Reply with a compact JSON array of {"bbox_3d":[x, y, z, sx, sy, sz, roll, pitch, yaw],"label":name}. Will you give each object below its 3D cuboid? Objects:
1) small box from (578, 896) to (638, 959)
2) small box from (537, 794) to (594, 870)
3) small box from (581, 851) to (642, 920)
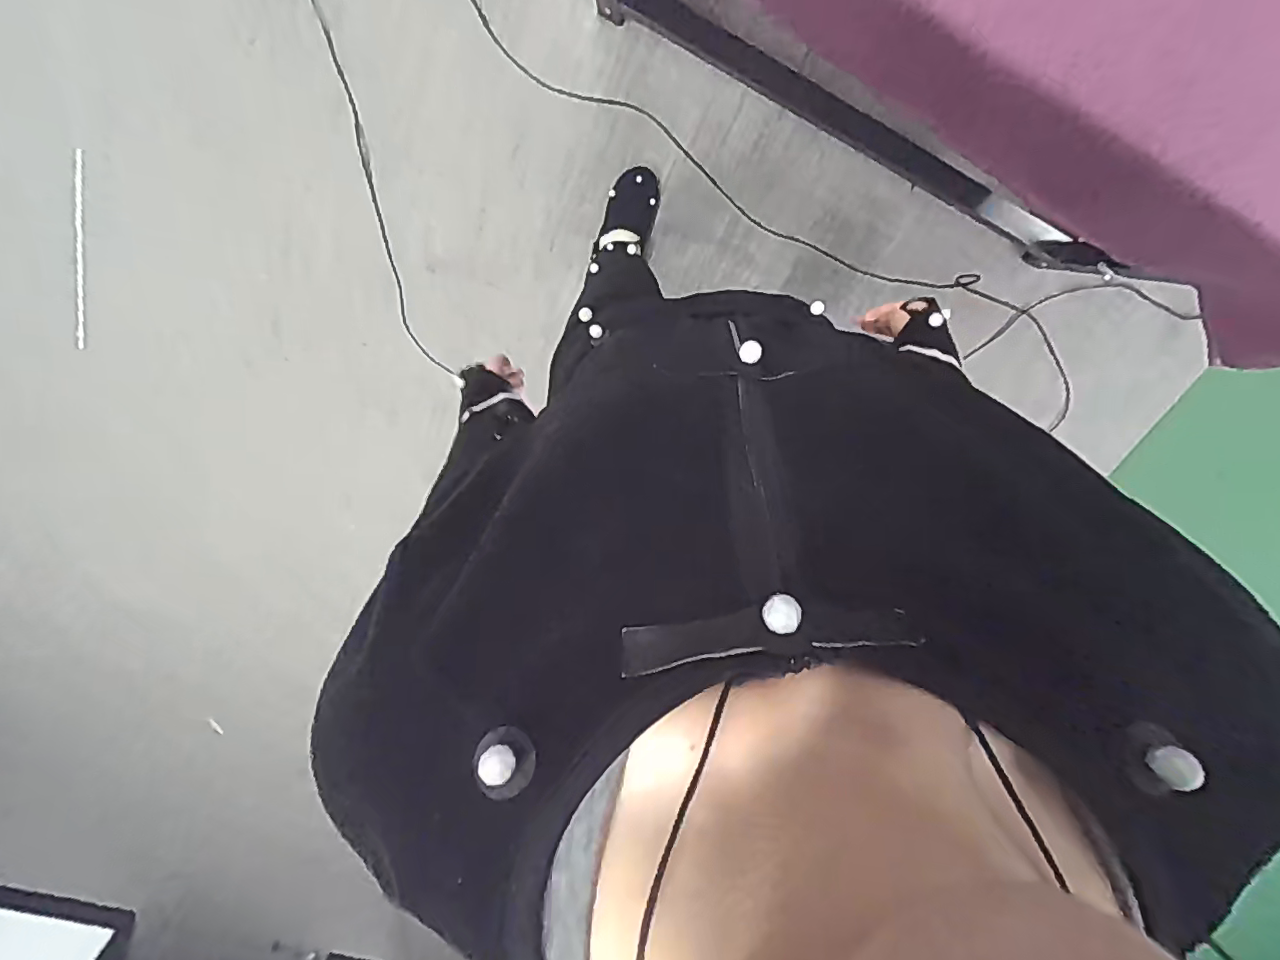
[{"bbox_3d":[-0.110,1.564,1.841,0.168,0.176,0.179,17,114,-6],"label":"small box"},{"bbox_3d":[-0.284,1.373,2.114,0.168,0.176,0.179,23,113,-12],"label":"small box"},{"bbox_3d":[-0.102,1.510,1.995,0.179,0.176,0.168,20,113,-8],"label":"small box"}]
